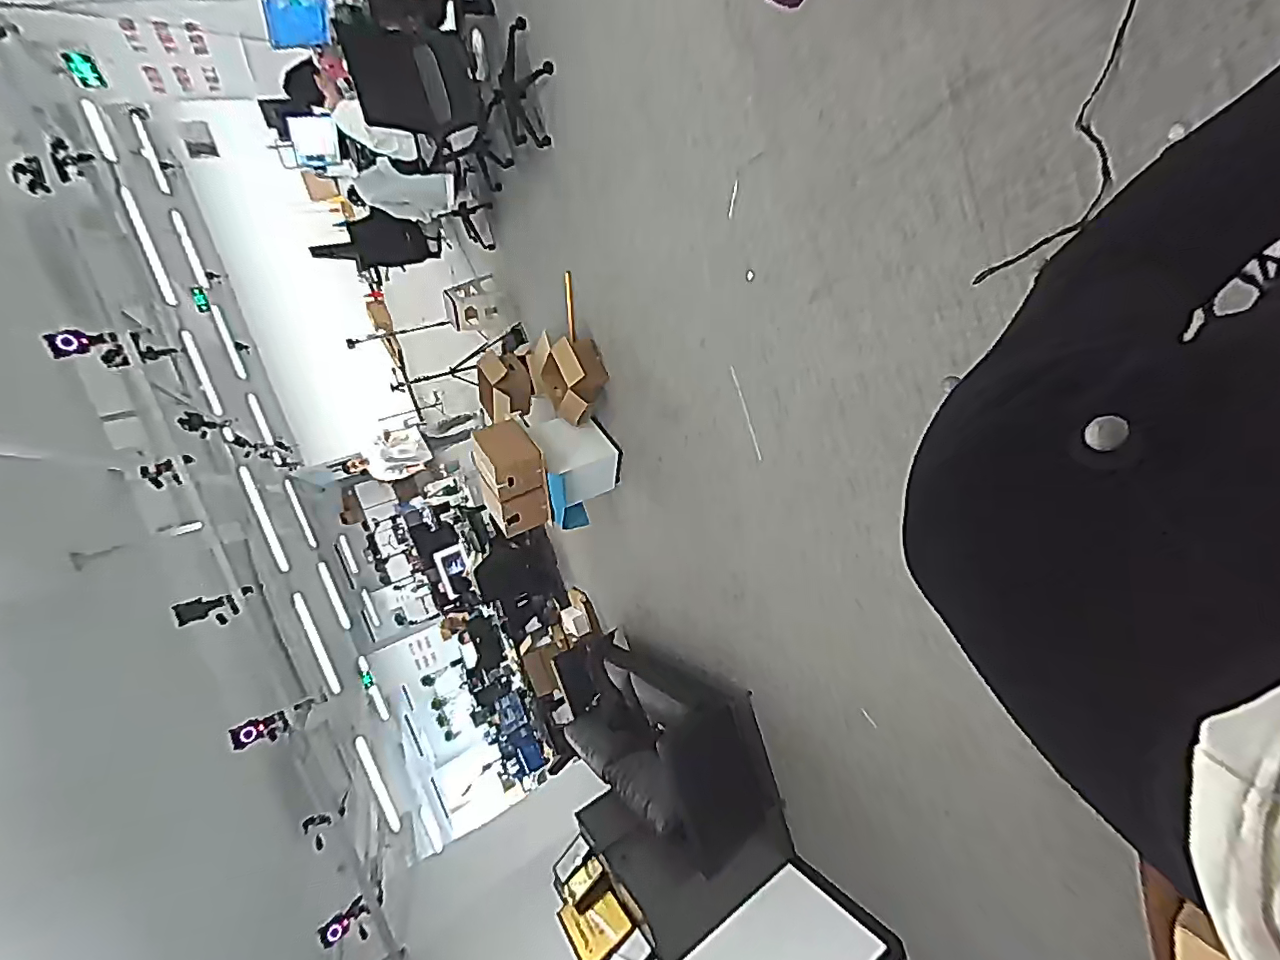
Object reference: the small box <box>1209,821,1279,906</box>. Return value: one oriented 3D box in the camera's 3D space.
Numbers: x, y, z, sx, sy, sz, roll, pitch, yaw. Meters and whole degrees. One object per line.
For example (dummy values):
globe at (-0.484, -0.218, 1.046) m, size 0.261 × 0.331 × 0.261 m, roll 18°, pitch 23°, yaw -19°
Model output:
small box at (1.166, 0.769, 0.972) m, size 0.168 × 0.176 × 0.179 m, roll 4°, pitch 114°, yaw 62°

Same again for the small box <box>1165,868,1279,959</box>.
small box at (1.023, 0.814, 0.906) m, size 0.168 × 0.176 × 0.179 m, roll 9°, pitch 118°, yaw 61°
